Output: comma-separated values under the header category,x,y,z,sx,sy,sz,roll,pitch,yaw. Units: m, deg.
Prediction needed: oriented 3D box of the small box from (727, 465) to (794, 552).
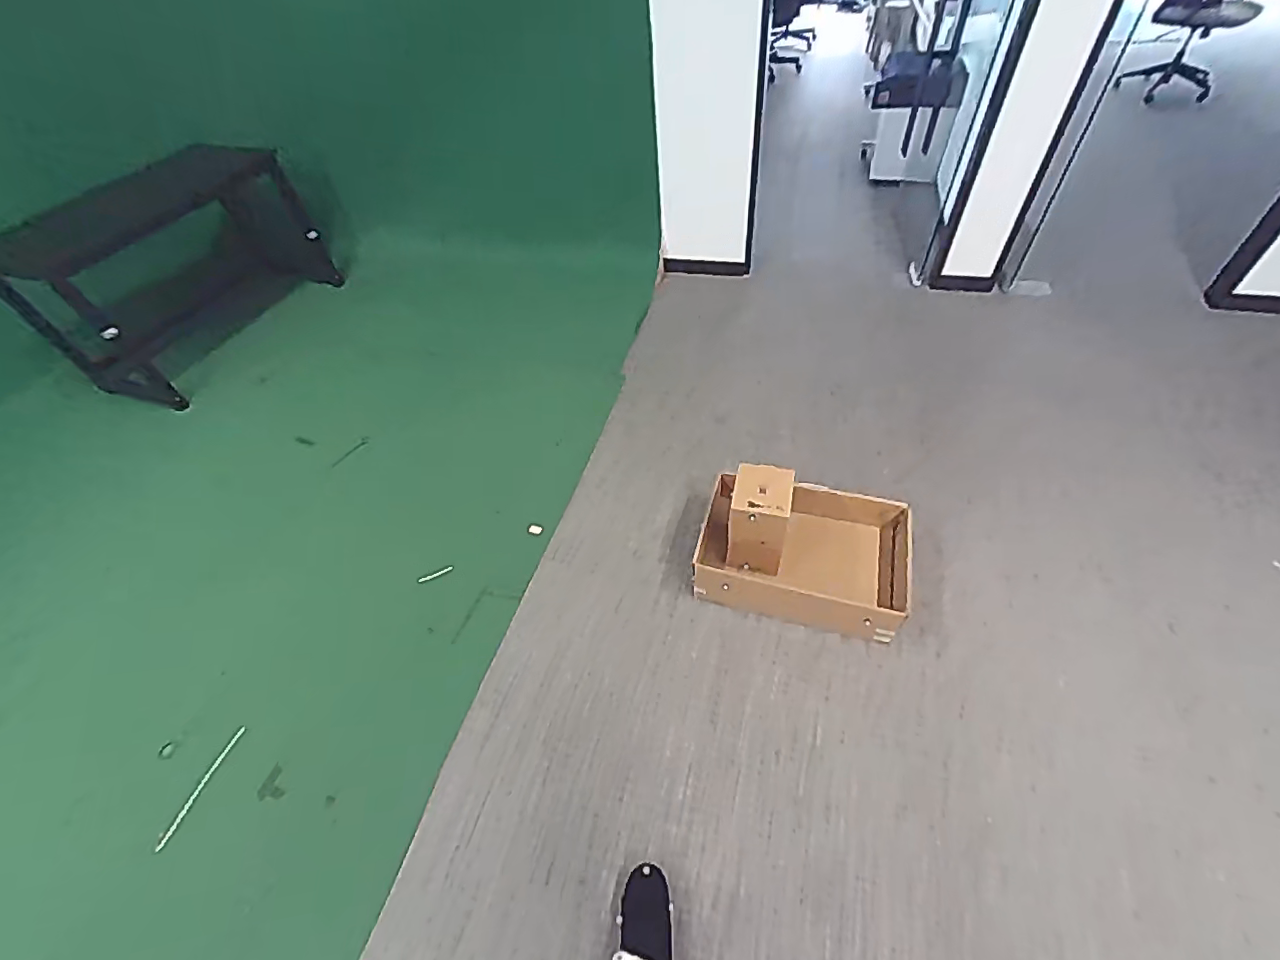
category,x,y,z,sx,sy,sz,roll,pitch,yaw
small box,0.353,0.085,1.602,0.168,0.176,0.179,9,51,13
